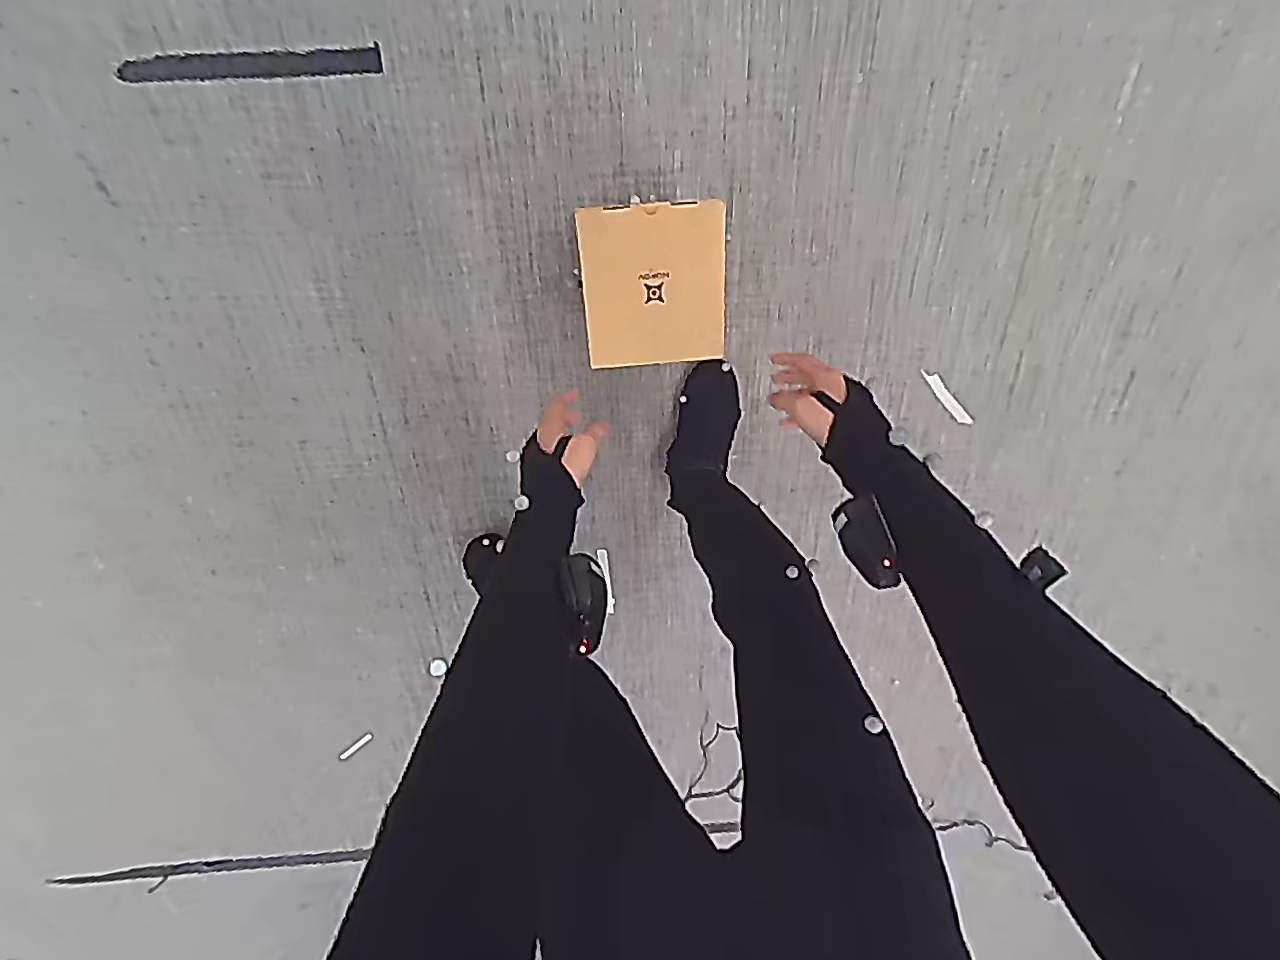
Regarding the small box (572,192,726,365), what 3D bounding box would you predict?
[{"bbox_3d":[0.009,-0.255,0.675,0.168,0.176,0.179,-6,116,-3],"label":"small box"}]
